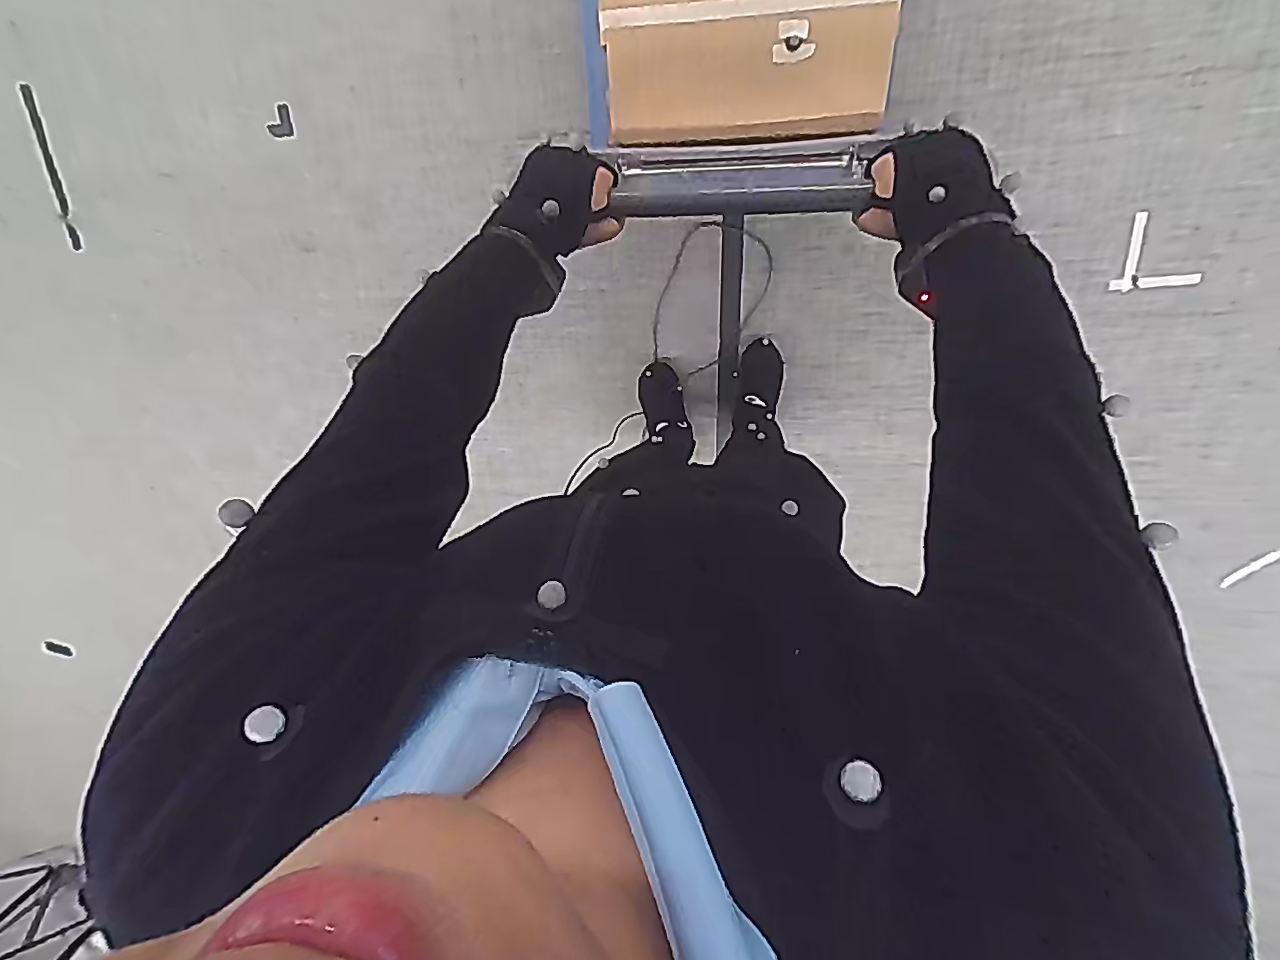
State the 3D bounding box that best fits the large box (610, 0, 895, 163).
[{"bbox_3d":[0.173,-0.730,0.898,0.408,0.320,0.320,1,117,8],"label":"large box"}]
